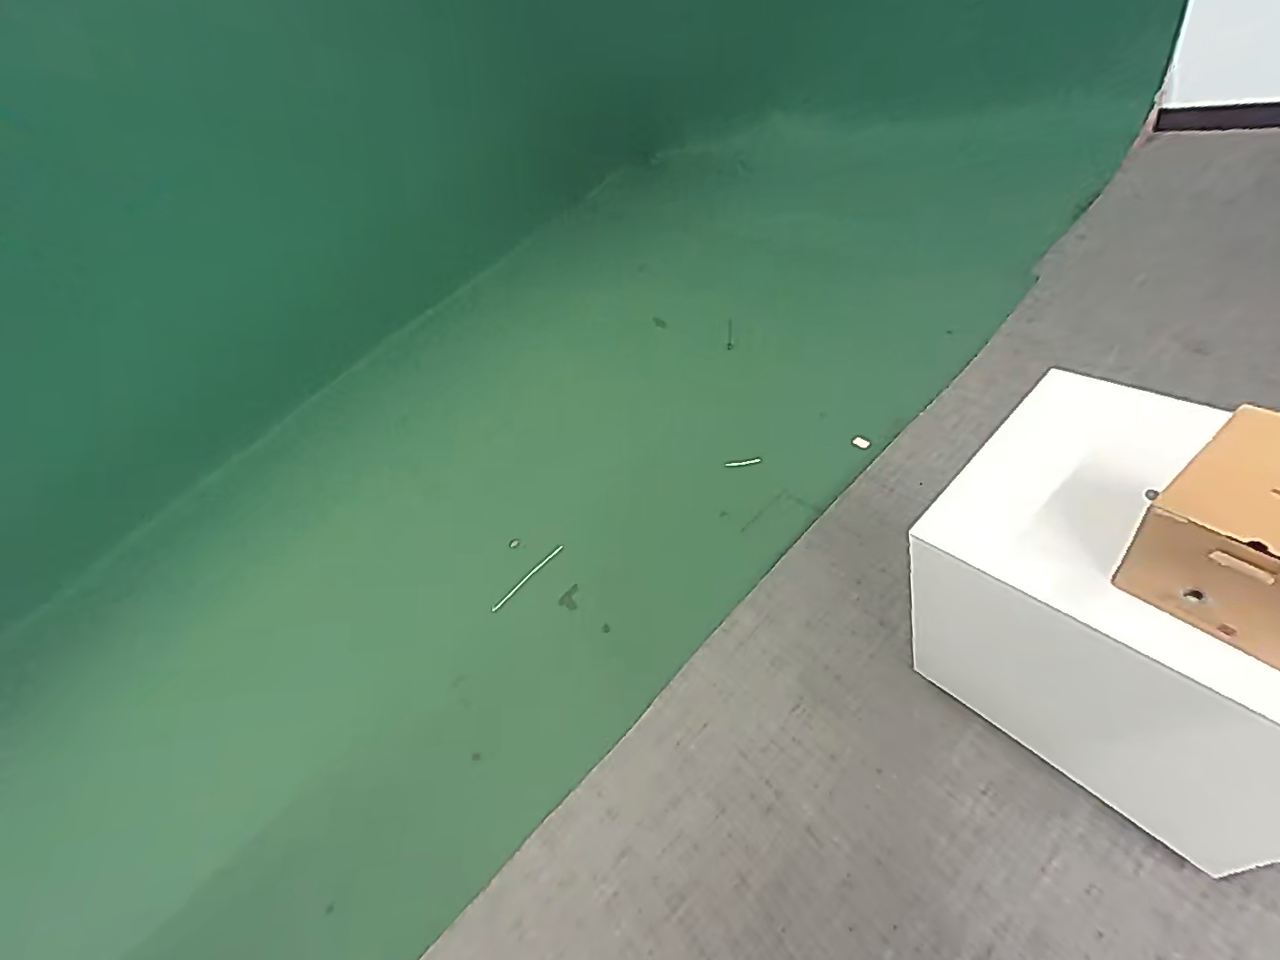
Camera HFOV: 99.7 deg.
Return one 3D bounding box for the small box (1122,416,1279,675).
[{"bbox_3d":[0.670,0.070,0.578,0.179,0.176,0.168,-40,45,-10],"label":"small box"}]
